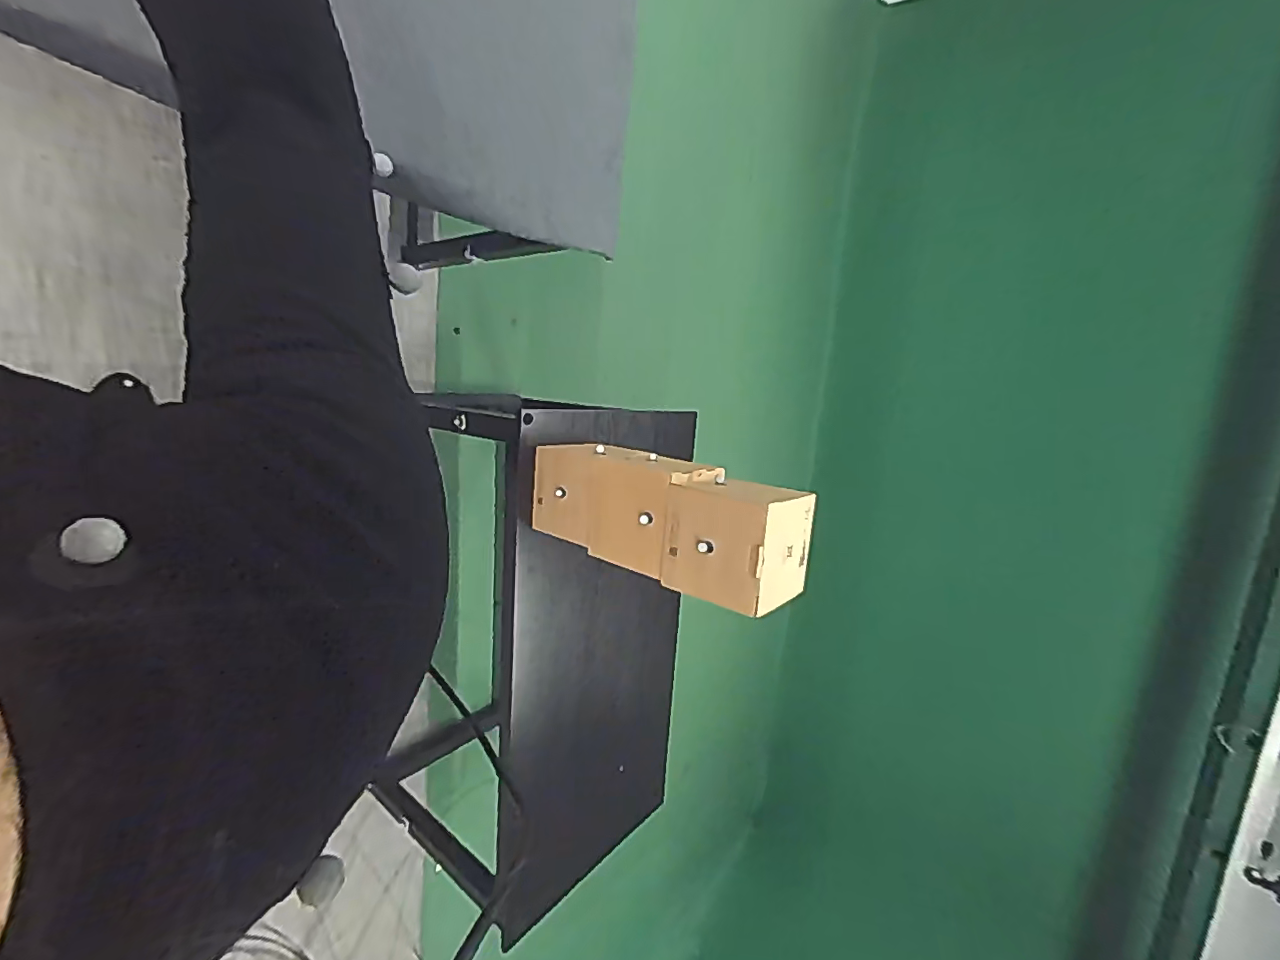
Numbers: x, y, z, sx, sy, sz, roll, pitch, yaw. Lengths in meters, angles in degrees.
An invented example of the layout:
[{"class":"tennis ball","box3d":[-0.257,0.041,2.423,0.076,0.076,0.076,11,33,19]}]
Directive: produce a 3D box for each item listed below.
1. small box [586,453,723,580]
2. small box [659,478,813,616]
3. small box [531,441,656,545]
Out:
[{"class":"small box","box3d":[0.022,0.054,0.946,0.168,0.176,0.179,-7,106,-51]},{"class":"small box","box3d":[0.148,0.093,0.848,0.179,0.176,0.168,-5,103,-51]},{"class":"small box","box3d":[-0.093,0.017,1.056,0.179,0.176,0.168,-7,107,-51]}]
